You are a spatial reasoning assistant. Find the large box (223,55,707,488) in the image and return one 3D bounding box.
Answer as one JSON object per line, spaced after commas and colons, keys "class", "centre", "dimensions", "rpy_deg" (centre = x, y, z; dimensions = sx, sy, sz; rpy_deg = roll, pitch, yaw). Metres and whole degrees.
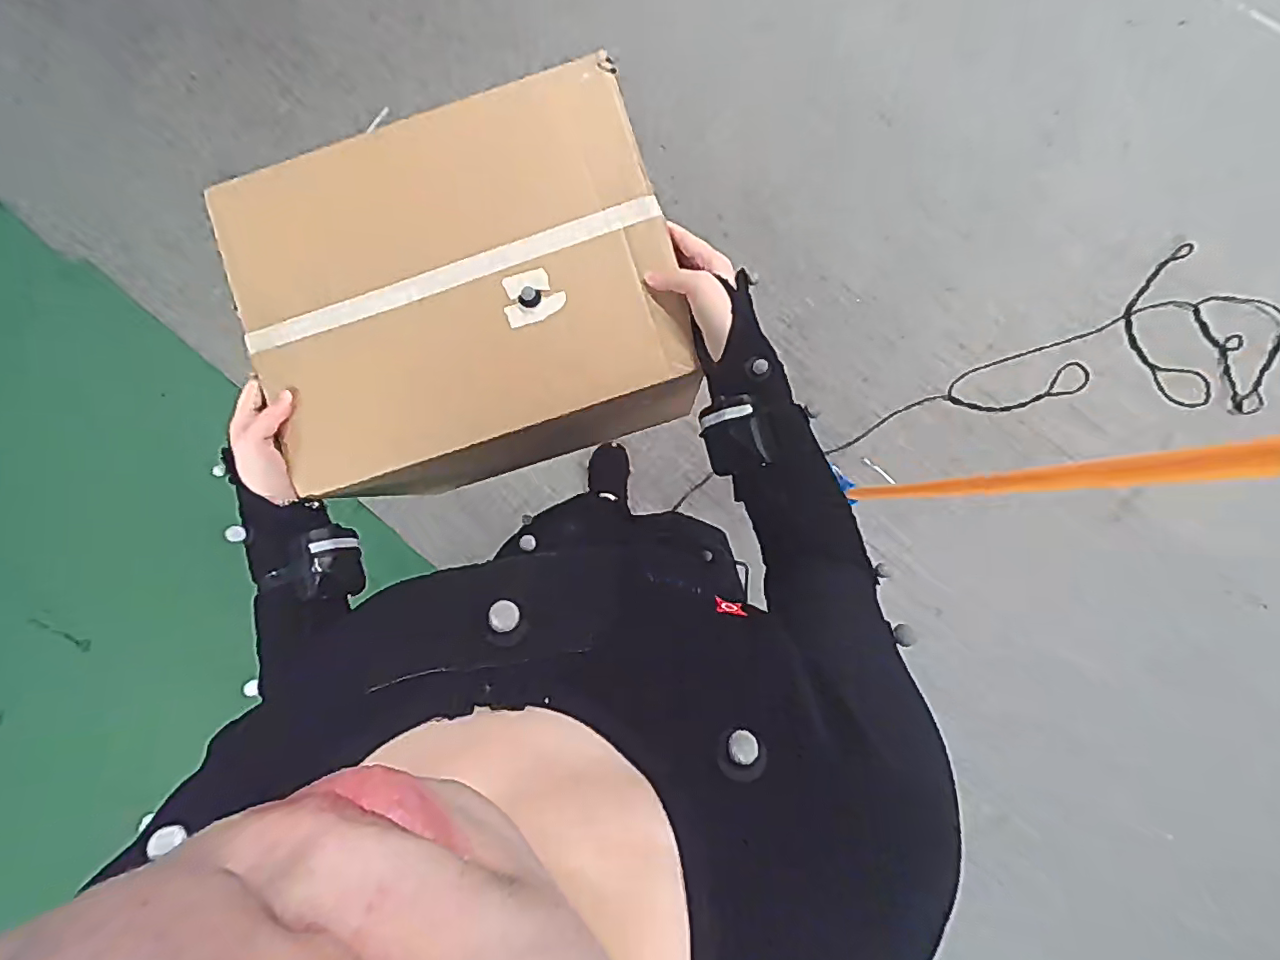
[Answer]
{"class": "large box", "centre": [-0.168, -0.197, 0.661], "dimensions": [0.408, 0.320, 0.320], "rpy_deg": [-18, 89, 0]}
